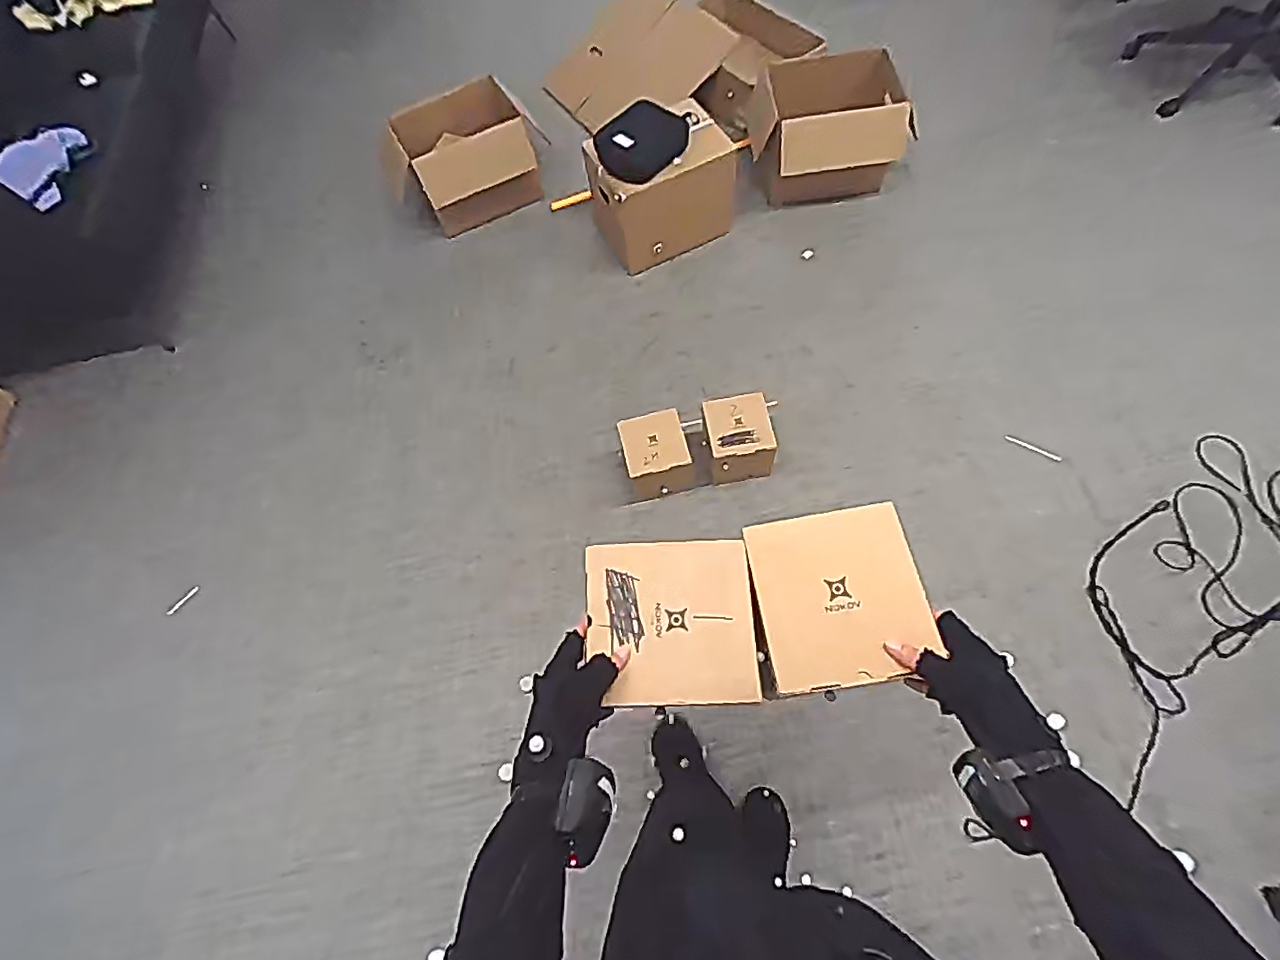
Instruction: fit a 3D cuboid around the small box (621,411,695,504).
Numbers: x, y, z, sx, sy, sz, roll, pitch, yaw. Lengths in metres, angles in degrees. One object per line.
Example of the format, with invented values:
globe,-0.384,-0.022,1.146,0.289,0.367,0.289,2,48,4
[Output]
small box,0.051,-0.058,1.490,0.168,0.176,0.179,-14,64,1
